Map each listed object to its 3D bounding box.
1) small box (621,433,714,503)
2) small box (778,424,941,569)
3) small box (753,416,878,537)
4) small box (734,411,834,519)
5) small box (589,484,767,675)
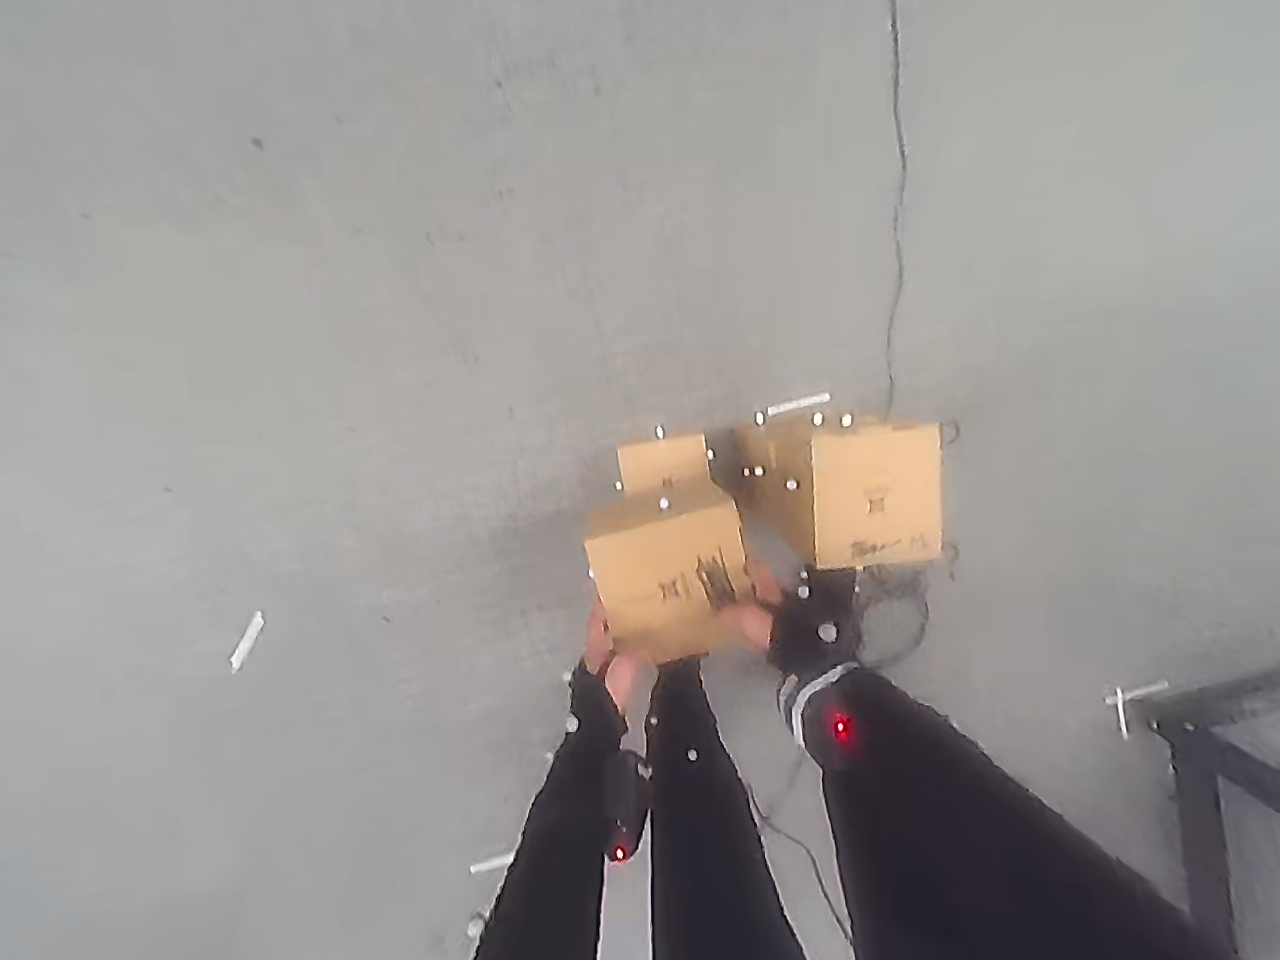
[{"bbox_3d":[0.053,0.003,1.091,0.168,0.176,0.179,-9,99,1],"label":"small box"},{"bbox_3d":[0.301,0.014,0.770,0.168,0.176,0.179,-5,97,0],"label":"small box"},{"bbox_3d":[0.301,-0.012,0.932,0.179,0.176,0.168,-13,98,1],"label":"small box"},{"bbox_3d":[0.297,-0.036,1.092,0.168,0.176,0.179,-14,99,2],"label":"small box"},{"bbox_3d":[0.039,0.113,0.687,0.179,0.176,0.168,-15,100,0],"label":"small box"}]
